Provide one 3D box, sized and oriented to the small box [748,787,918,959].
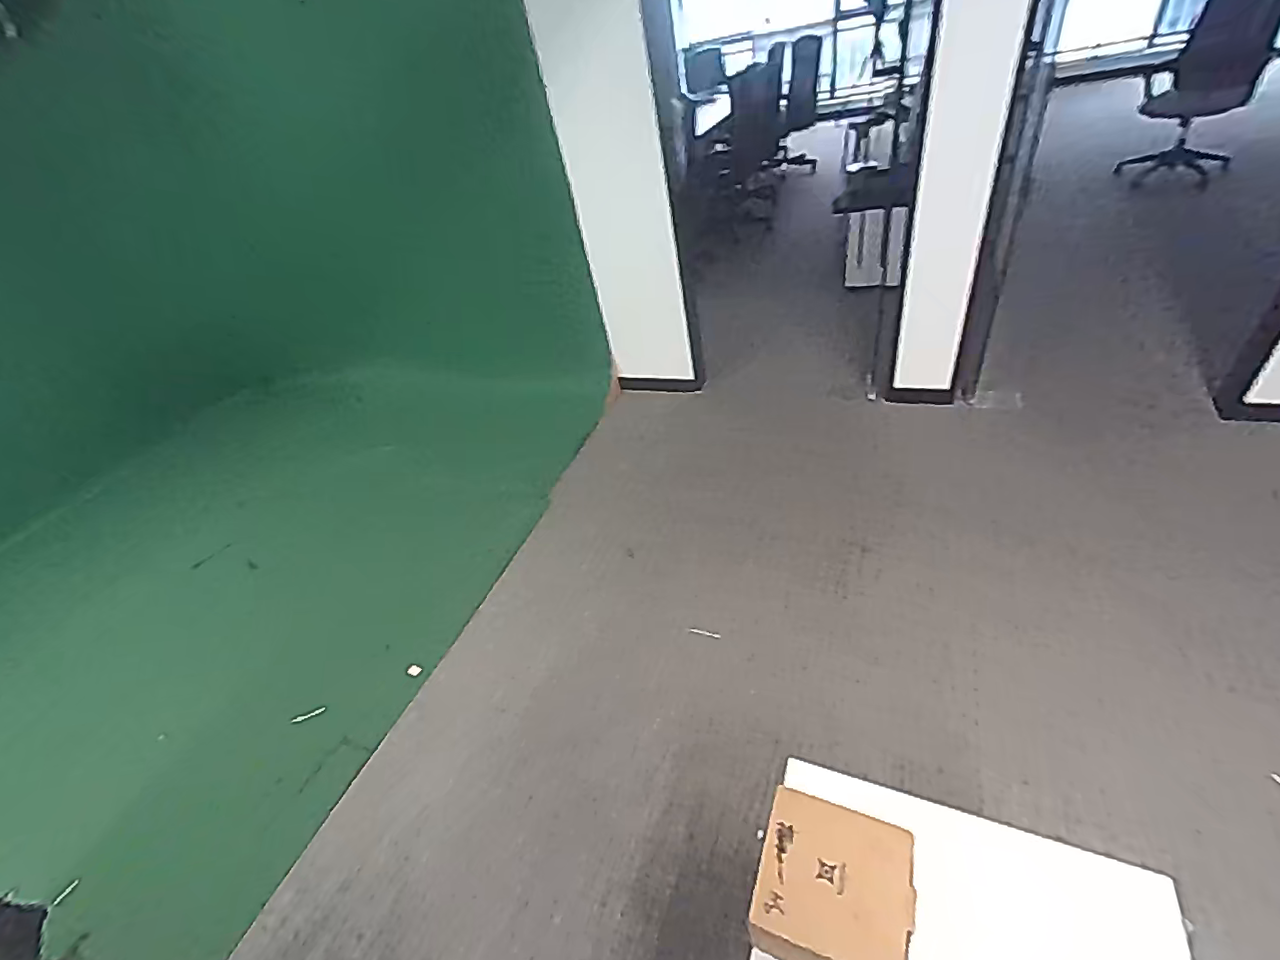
[{"bbox_3d":[0.250,0.546,0.711,0.179,0.176,0.168,10,45,24],"label":"small box"}]
